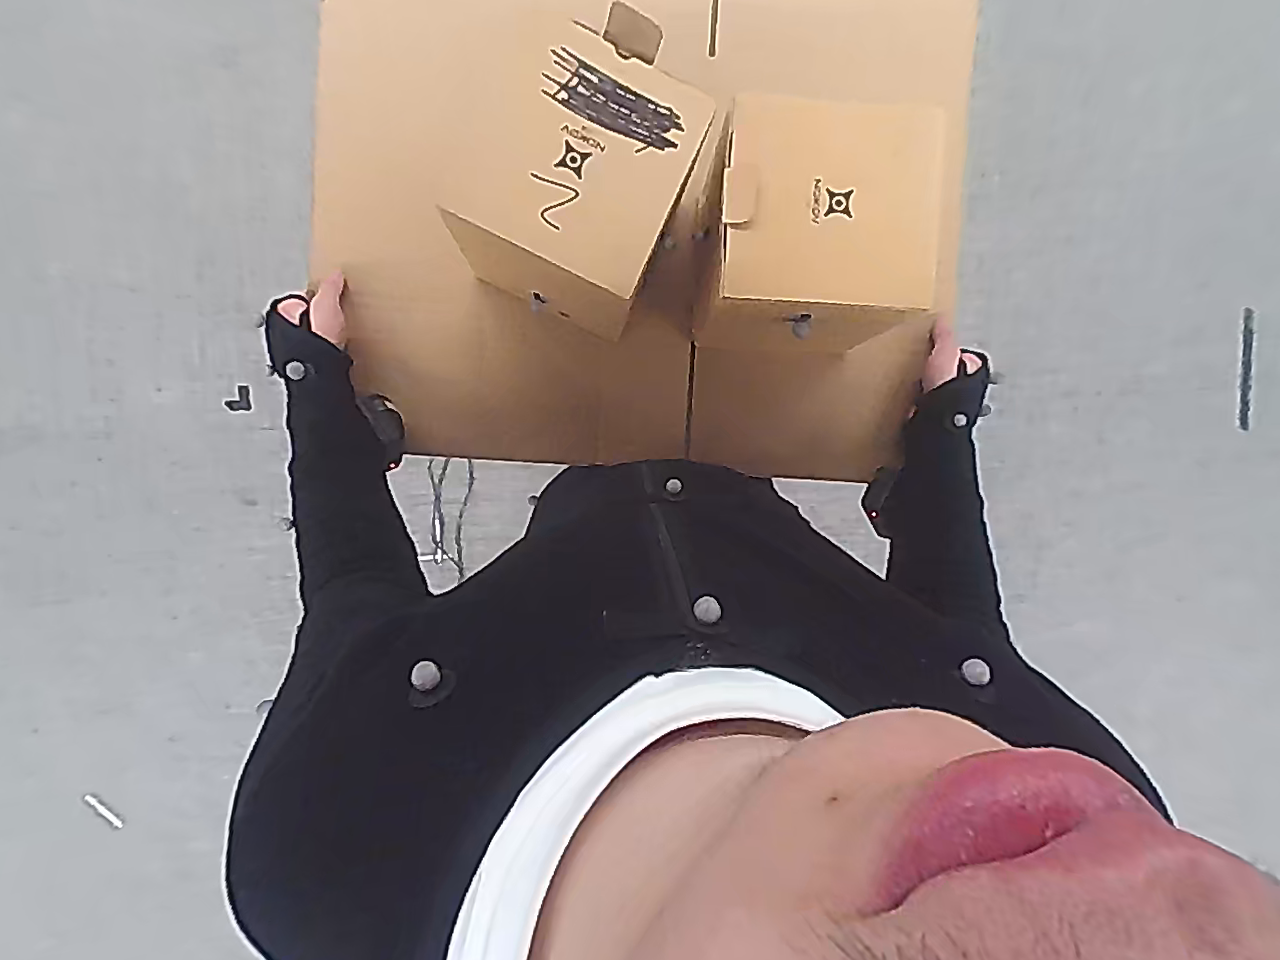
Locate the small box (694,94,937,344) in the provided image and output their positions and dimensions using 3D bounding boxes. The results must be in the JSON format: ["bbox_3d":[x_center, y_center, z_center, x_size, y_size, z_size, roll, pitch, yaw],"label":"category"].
[{"bbox_3d":[0.155,-0.235,0.531,0.179,0.176,0.168,2,92,-2],"label":"small box"}]
